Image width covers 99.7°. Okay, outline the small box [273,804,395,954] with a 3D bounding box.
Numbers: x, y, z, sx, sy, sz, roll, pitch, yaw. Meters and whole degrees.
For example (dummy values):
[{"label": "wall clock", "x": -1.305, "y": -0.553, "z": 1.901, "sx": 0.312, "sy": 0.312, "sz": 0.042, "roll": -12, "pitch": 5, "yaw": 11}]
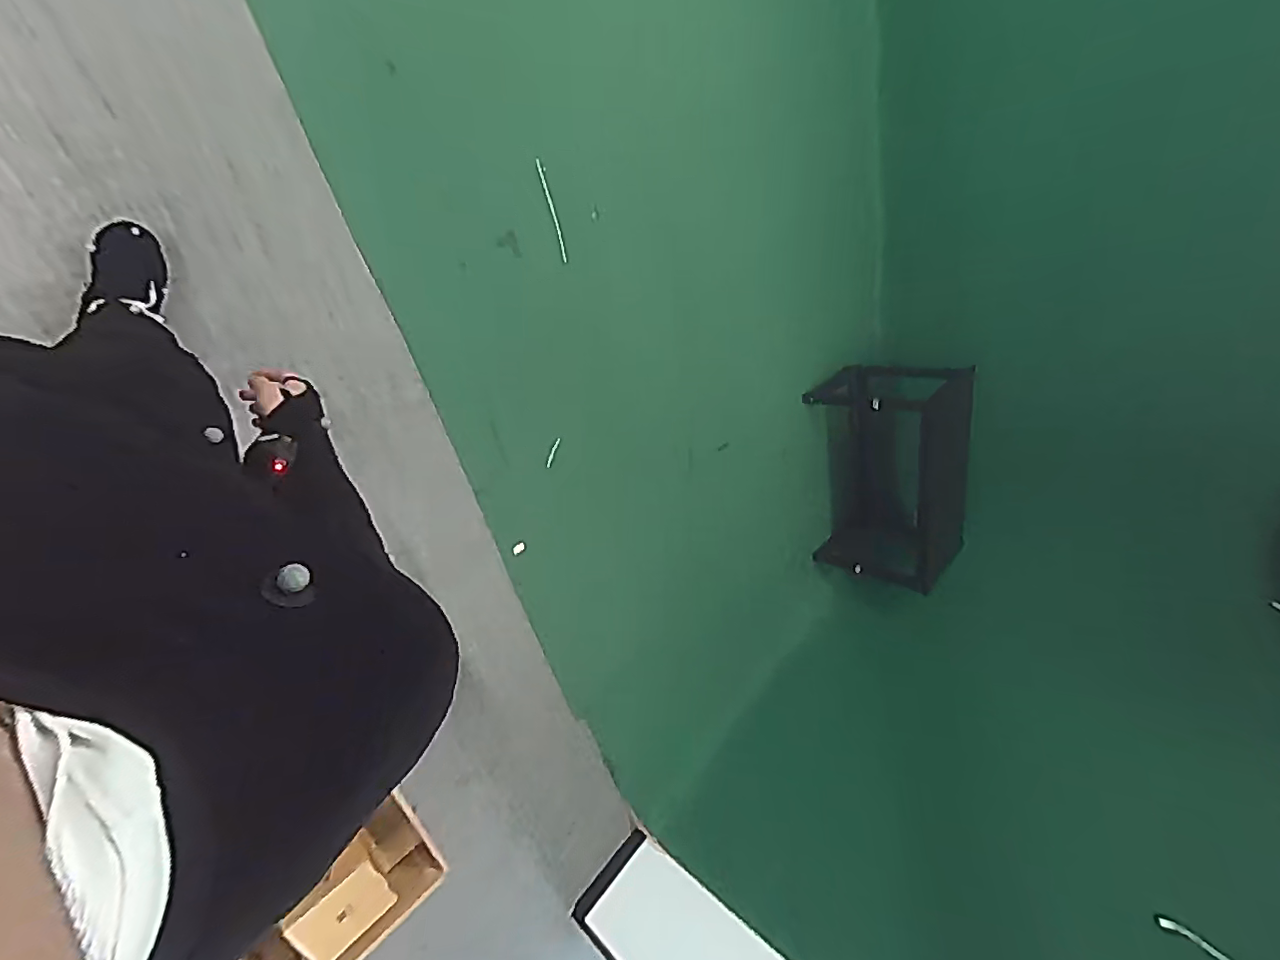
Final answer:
[{"label": "small box", "x": -0.697, "y": 0.891, "z": 1.222, "sx": 0.179, "sy": 0.176, "sz": 0.168, "roll": -34, "pitch": 124, "yaw": -35}]
